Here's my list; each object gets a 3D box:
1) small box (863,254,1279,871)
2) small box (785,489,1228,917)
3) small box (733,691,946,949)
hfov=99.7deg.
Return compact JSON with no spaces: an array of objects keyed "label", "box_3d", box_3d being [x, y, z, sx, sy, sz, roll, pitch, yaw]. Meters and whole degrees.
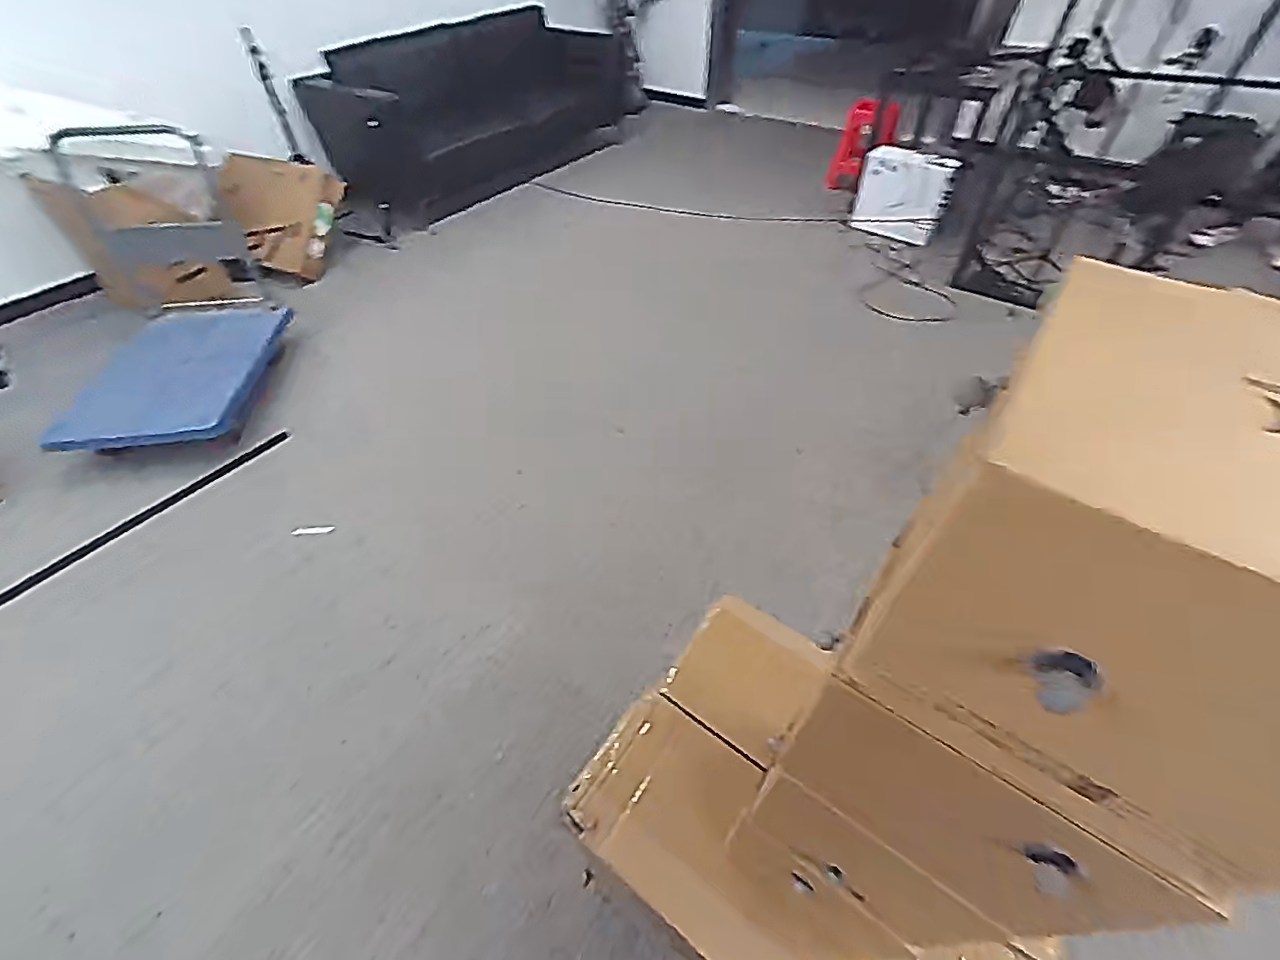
[{"label":"small box","box_3d":[0.221,0.030,0.242,0.168,0.176,0.179,28,53,24]},{"label":"small box","box_3d":[0.221,0.144,0.358,0.179,0.176,0.168,28,54,25]},{"label":"small box","box_3d":[0.219,0.372,0.595,0.179,0.176,0.168,29,54,24]}]
